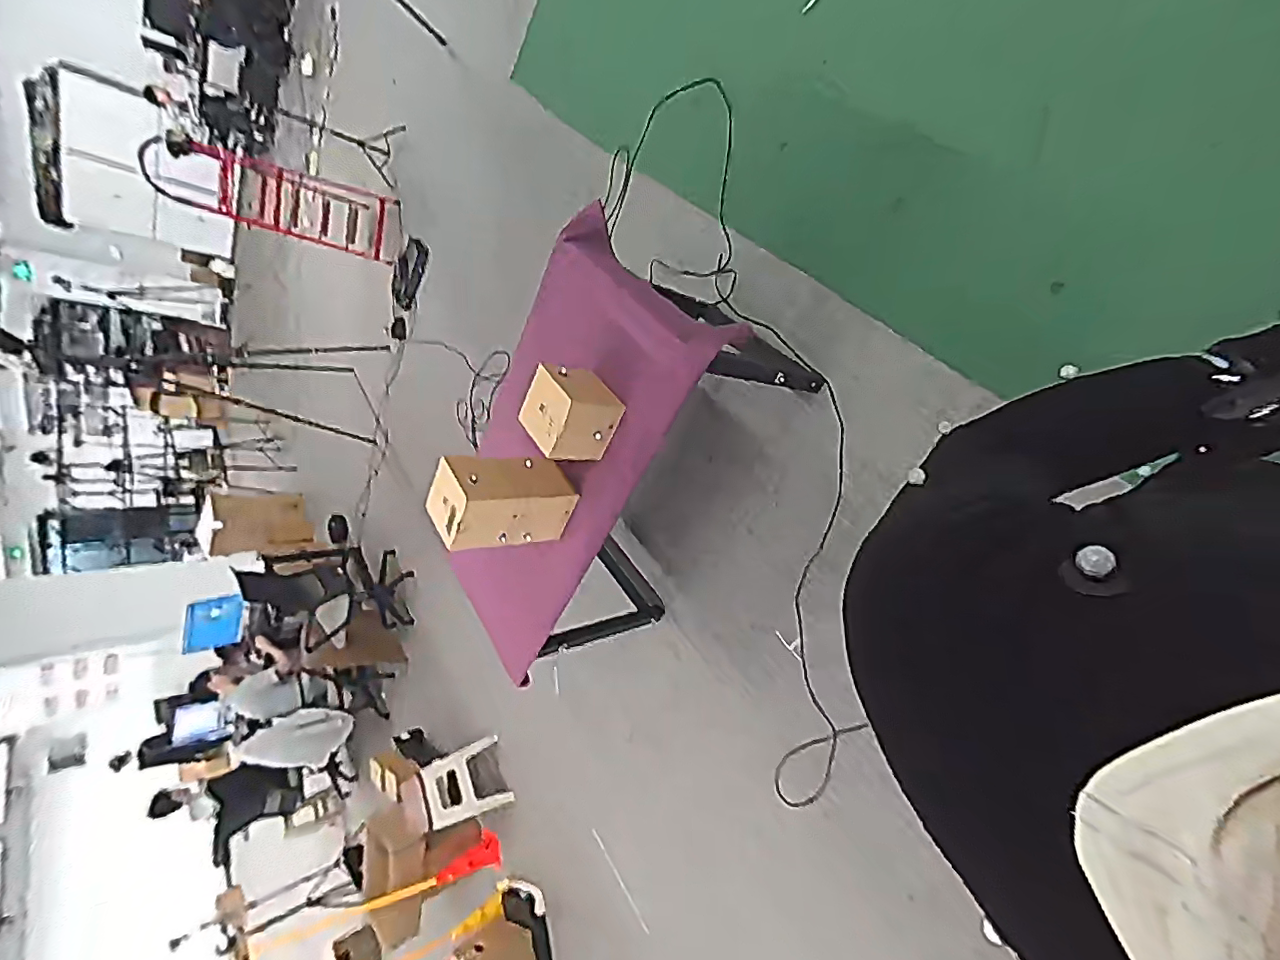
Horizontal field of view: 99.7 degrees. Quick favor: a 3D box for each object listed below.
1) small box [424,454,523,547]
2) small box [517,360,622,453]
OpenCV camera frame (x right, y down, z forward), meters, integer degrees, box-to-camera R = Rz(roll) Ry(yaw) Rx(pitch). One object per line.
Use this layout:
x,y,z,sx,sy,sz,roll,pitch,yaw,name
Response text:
-0.422,0.047,1.378,0.179,0.176,0.168,49,123,33,small box
-0.178,-0.177,1.362,0.179,0.176,0.168,49,123,32,small box
